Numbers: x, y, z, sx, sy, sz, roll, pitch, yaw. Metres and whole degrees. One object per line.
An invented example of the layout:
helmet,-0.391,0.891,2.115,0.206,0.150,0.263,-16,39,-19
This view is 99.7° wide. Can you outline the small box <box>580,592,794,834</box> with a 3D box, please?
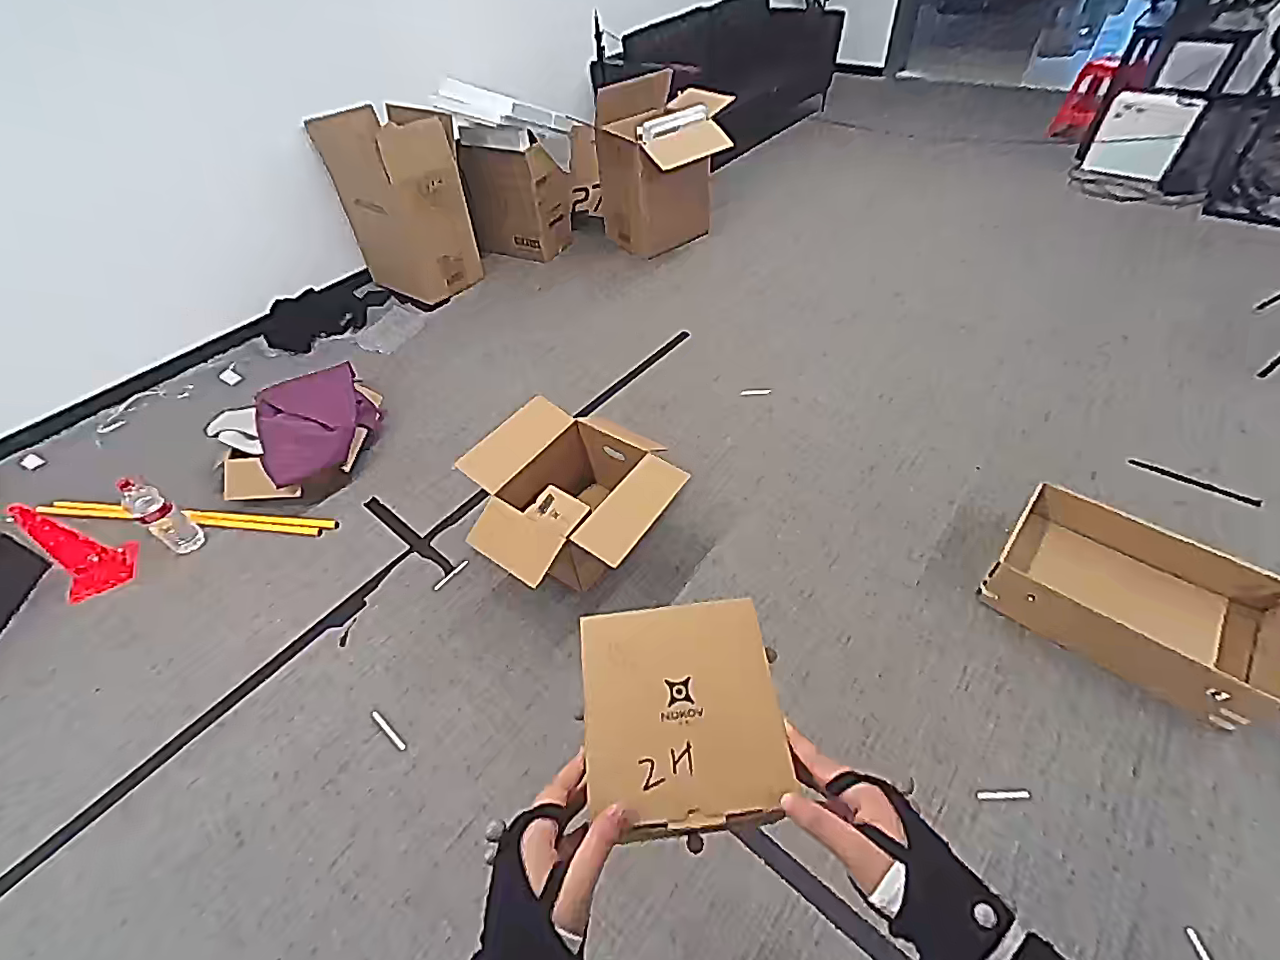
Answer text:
small box,0.035,0.231,0.528,0.168,0.176,0.179,-7,55,0
